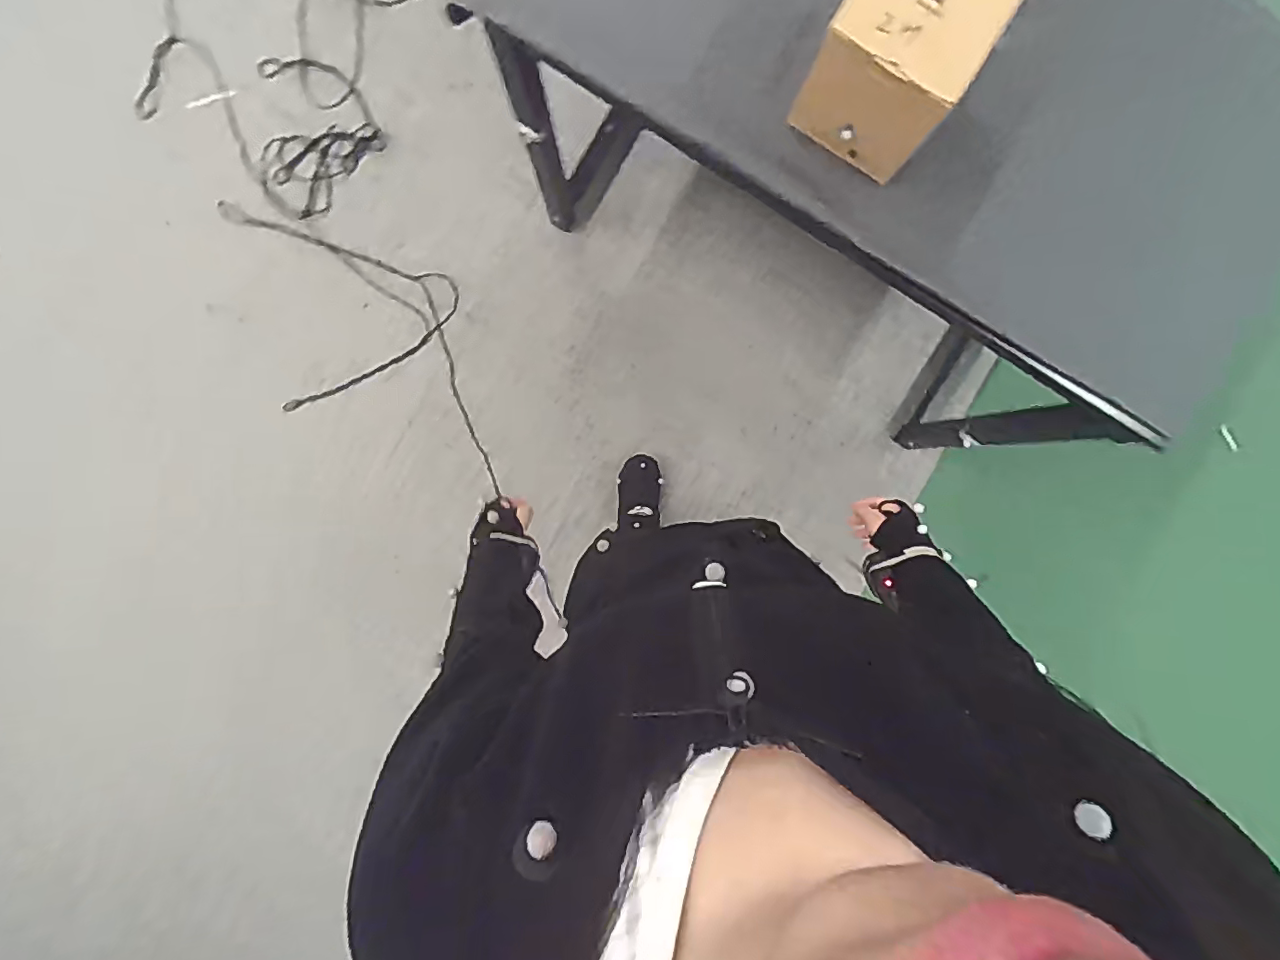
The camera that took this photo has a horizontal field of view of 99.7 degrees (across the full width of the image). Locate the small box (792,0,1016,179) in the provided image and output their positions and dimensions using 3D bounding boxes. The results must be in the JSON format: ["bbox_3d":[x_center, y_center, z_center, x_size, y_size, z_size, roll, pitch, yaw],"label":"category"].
[{"bbox_3d":[0.316,-0.529,0.674,0.168,0.176,0.179,32,90,-1],"label":"small box"}]
